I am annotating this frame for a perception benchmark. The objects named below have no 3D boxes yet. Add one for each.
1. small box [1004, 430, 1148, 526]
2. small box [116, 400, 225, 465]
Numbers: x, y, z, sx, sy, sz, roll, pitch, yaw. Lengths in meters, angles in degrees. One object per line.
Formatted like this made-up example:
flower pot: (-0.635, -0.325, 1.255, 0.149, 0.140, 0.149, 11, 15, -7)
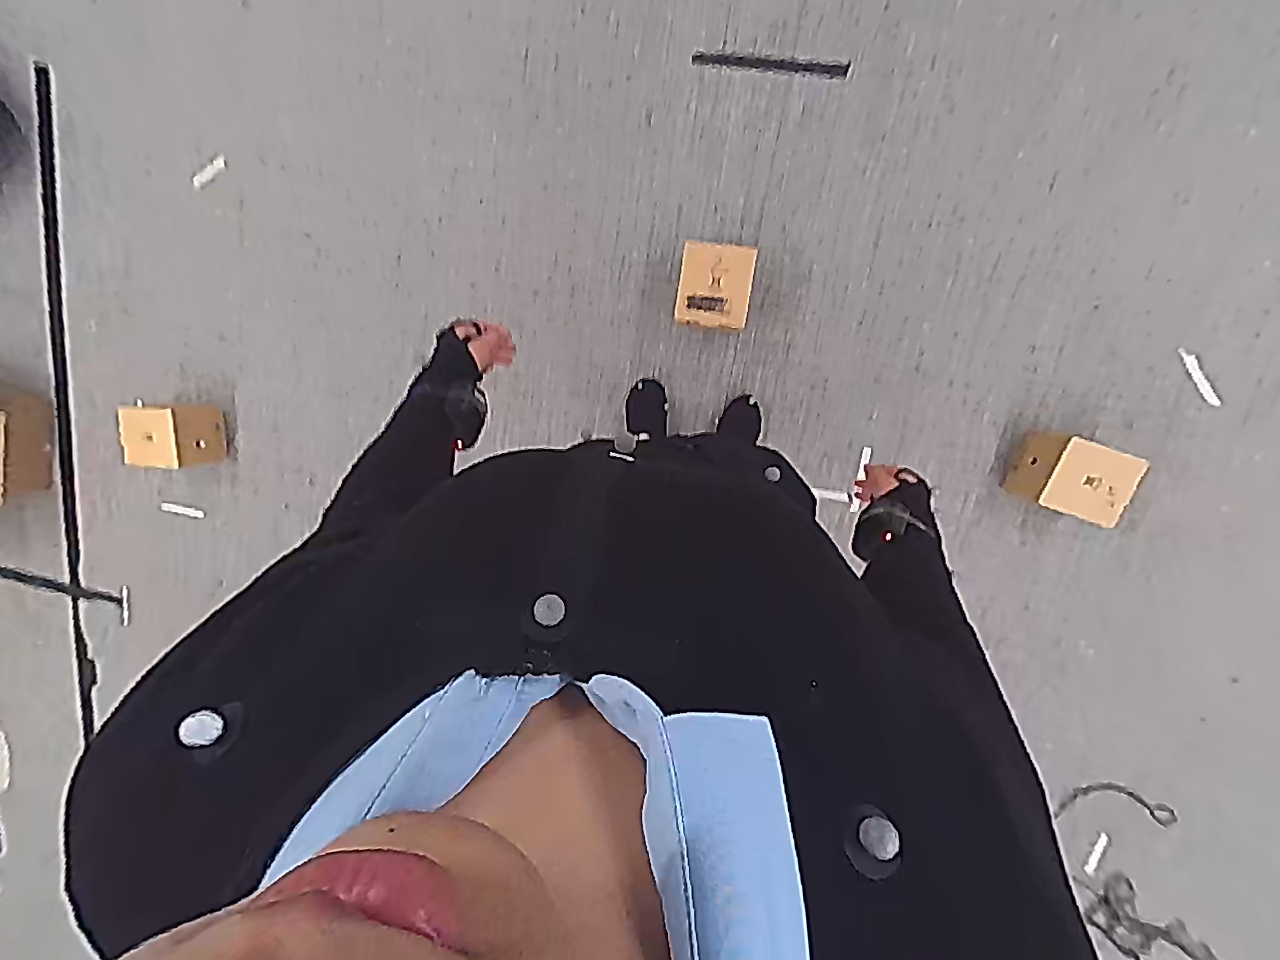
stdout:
small box: (1.014, -0.013, 1.278, 0.179, 0.176, 0.168, 20, 104, 3)
small box: (-1.359, -0.145, 1.582, 0.179, 0.176, 0.168, 4, 102, 7)
